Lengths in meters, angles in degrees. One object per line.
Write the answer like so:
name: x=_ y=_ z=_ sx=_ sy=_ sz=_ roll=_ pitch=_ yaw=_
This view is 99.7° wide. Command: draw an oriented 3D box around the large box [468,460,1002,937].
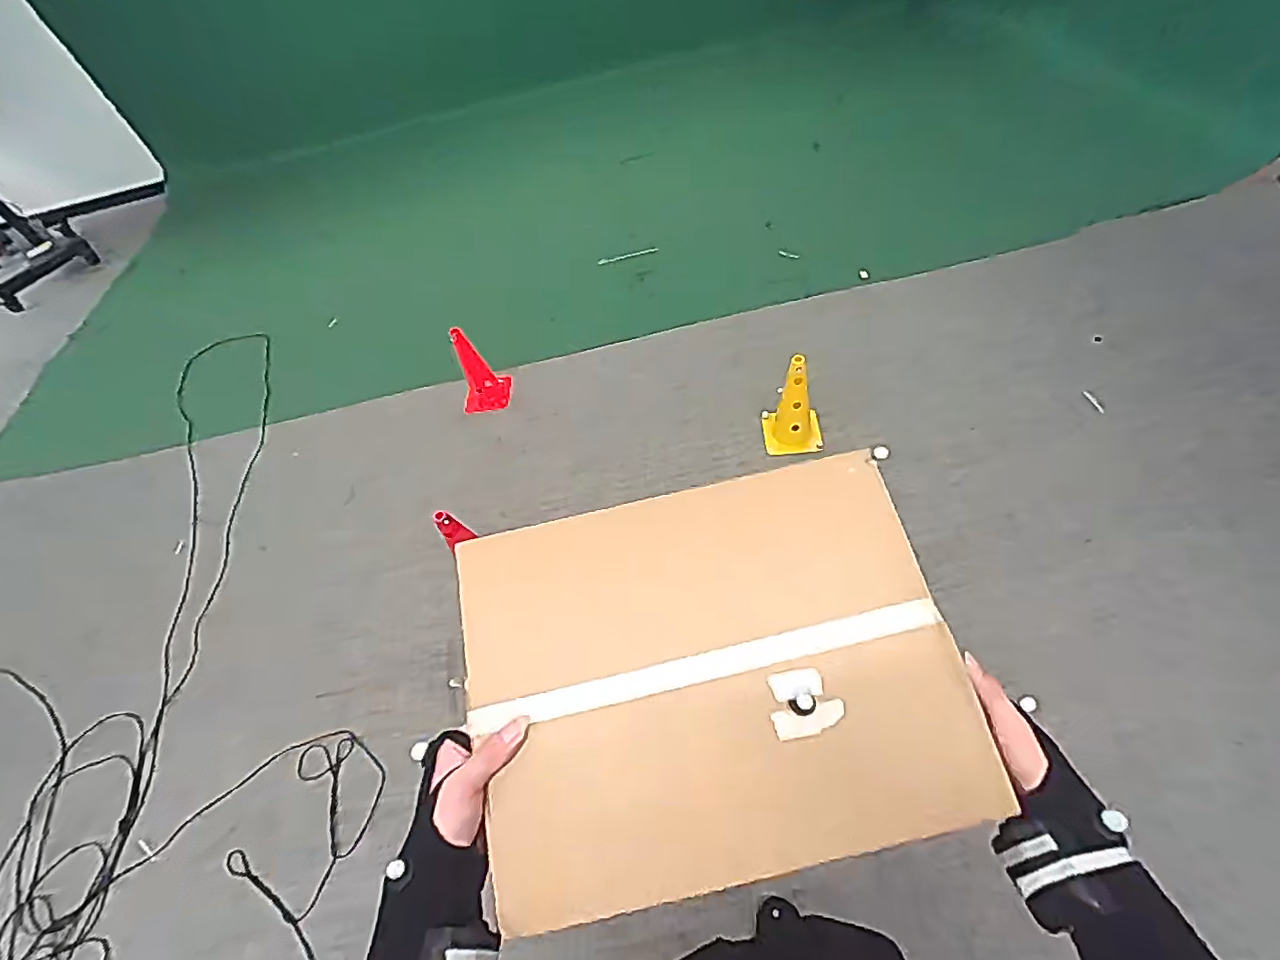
large box: x=0.066 y=0.217 z=0.608 sx=0.408 sy=0.320 sz=0.320 roll=-13 pitch=70 yaw=-2

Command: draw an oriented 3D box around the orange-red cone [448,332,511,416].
orange-red cone: x=-0.703 y=-0.461 z=2.244 sx=0.199 sy=0.360 sz=0.198 roll=-7 pitch=53 yaw=8
